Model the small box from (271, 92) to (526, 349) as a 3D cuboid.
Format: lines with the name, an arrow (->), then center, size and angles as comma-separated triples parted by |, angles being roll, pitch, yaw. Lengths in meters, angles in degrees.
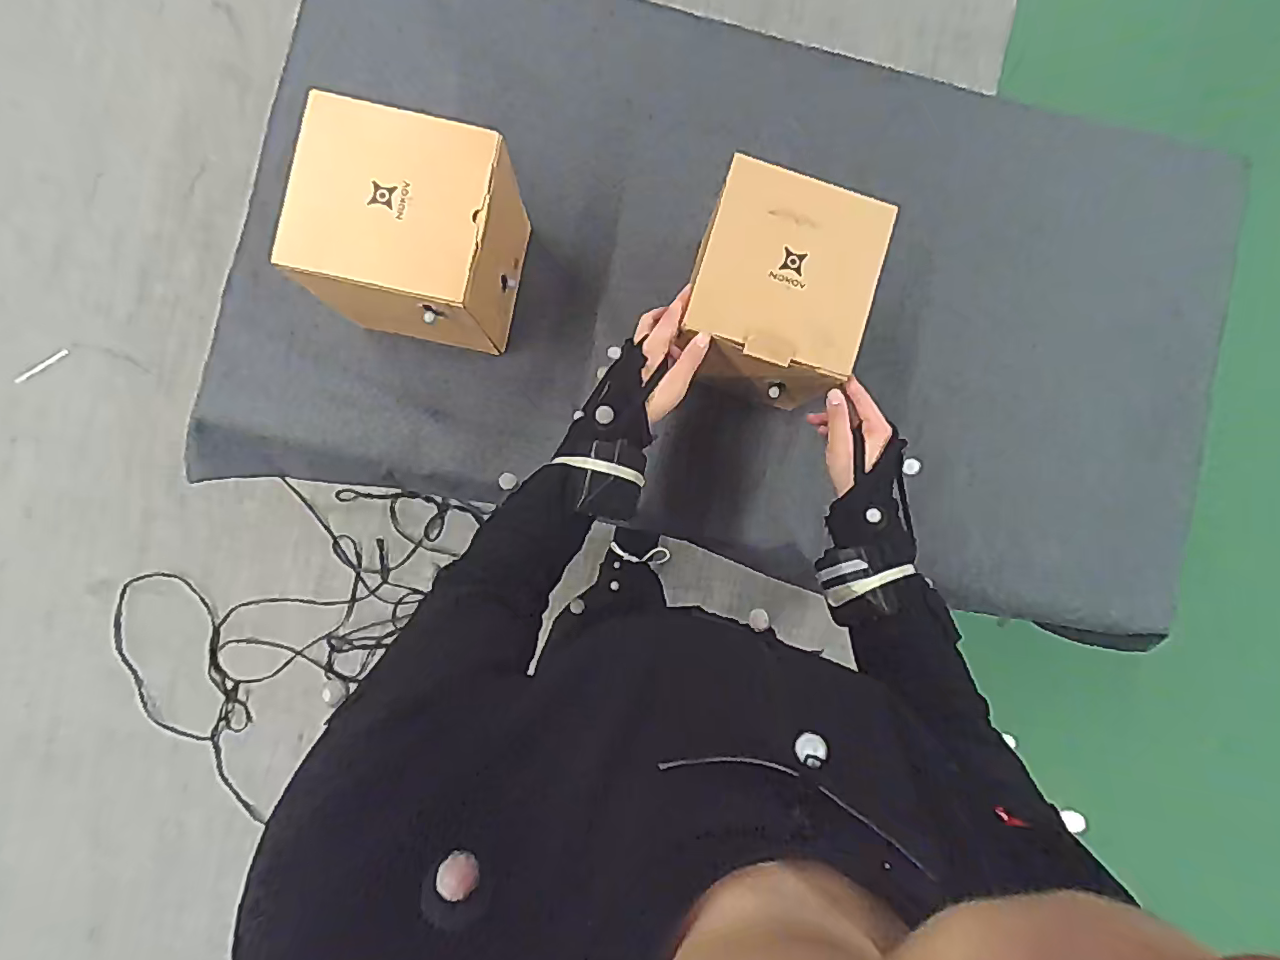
small box -> -0.230, -0.249, 0.563 | 0.179, 0.176, 0.168 | 11, 87, -3

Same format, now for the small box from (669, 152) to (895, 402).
small box -> 0.134, -0.196, 0.580 | 0.168, 0.176, 0.179 | 16, 86, -4
